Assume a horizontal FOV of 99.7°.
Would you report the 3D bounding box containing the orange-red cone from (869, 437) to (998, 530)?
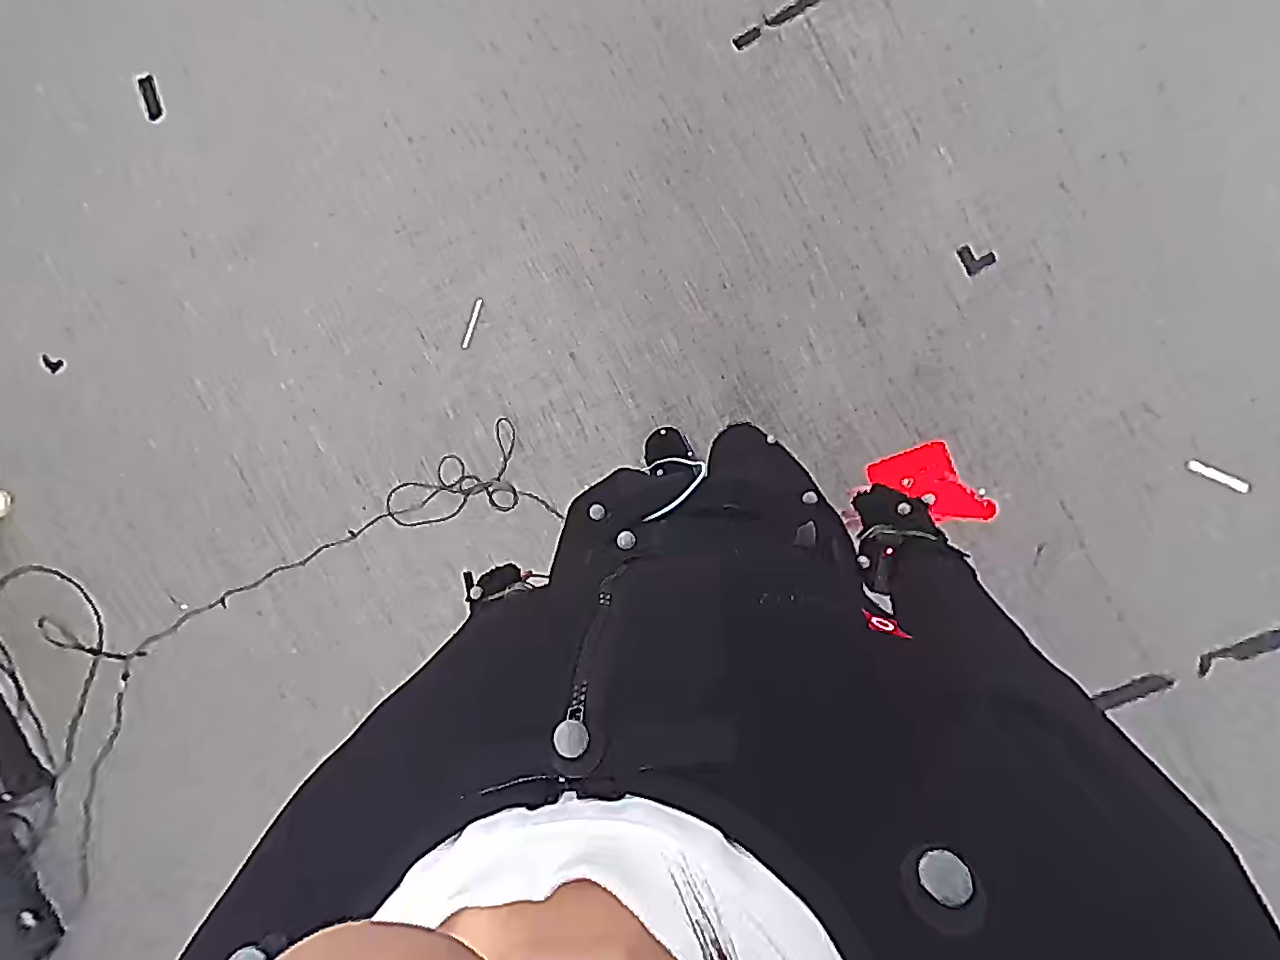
[{"bbox_3d":[0.665,0.026,1.169,0.199,0.360,0.198,-20,93,8],"label":"orange-red cone"}]
